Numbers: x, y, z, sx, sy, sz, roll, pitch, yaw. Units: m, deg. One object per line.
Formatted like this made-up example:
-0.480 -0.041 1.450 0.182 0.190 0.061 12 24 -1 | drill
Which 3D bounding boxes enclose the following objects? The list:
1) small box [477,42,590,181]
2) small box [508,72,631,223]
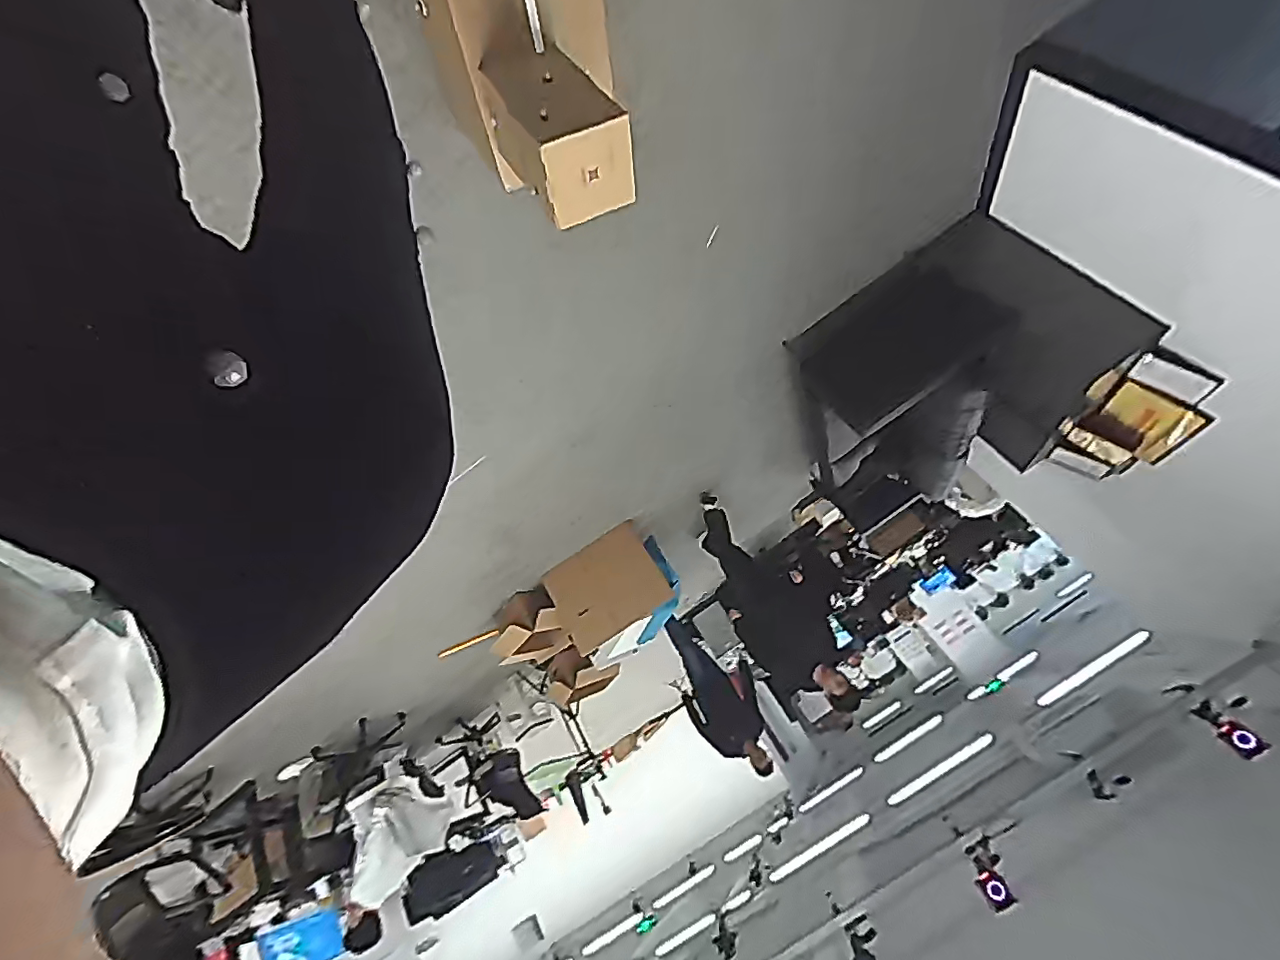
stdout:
-0.207 -0.757 1.106 0.179 0.176 0.168 -25 152 -13 | small box
-0.136 -0.633 1.029 0.179 0.176 0.168 -27 153 -11 | small box
